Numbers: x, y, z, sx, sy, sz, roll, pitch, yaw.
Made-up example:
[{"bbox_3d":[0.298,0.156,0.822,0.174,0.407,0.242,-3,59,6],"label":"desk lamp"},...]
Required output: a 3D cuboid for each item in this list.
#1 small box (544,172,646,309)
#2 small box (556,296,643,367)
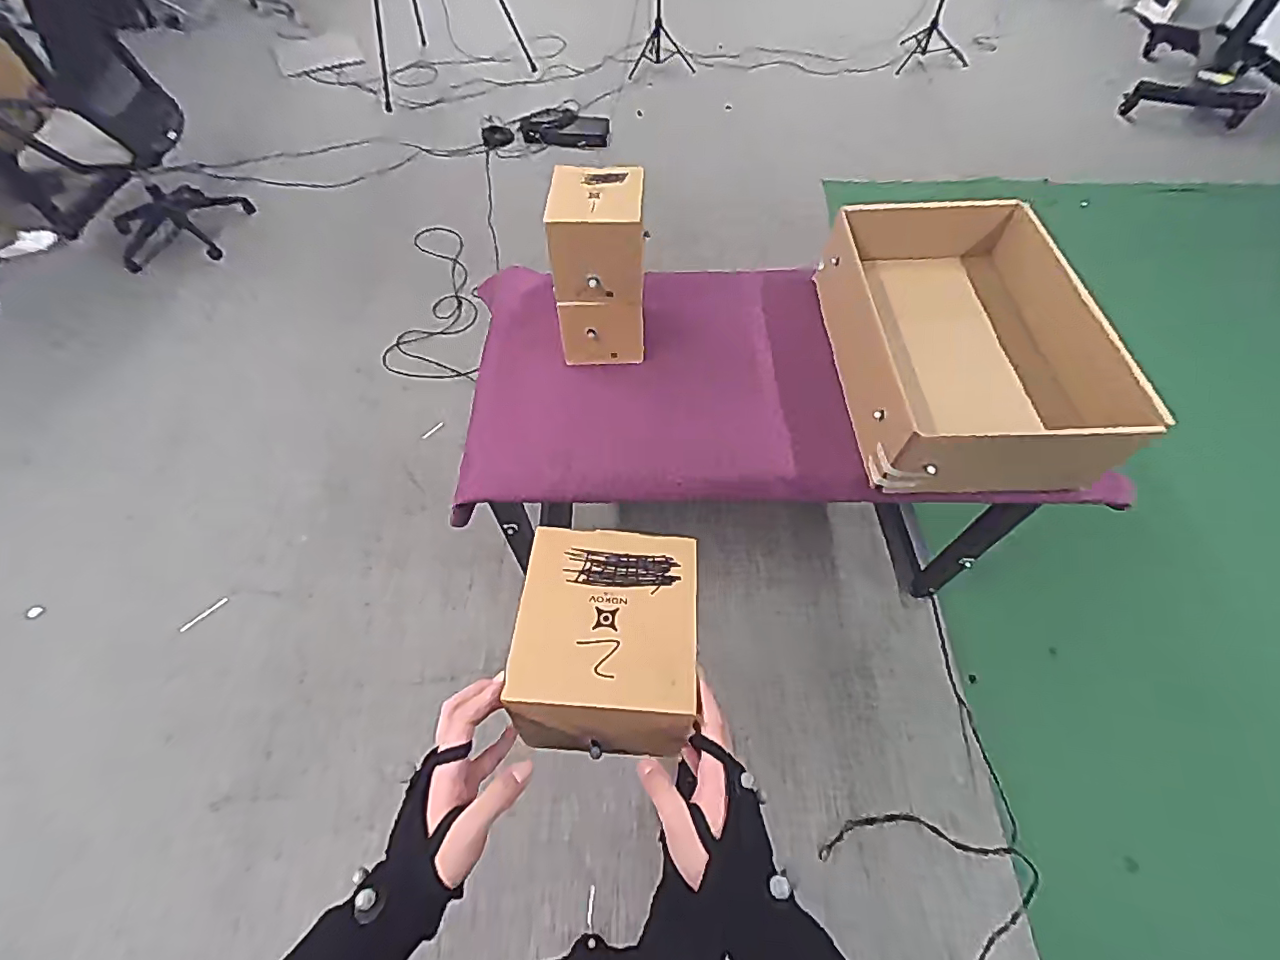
[{"bbox_3d":[-0.075,-0.447,1.013,0.168,0.176,0.179,2,57,2],"label":"small box"},{"bbox_3d":[-0.079,-0.355,1.149,0.168,0.176,0.179,-2,56,0],"label":"small box"}]
